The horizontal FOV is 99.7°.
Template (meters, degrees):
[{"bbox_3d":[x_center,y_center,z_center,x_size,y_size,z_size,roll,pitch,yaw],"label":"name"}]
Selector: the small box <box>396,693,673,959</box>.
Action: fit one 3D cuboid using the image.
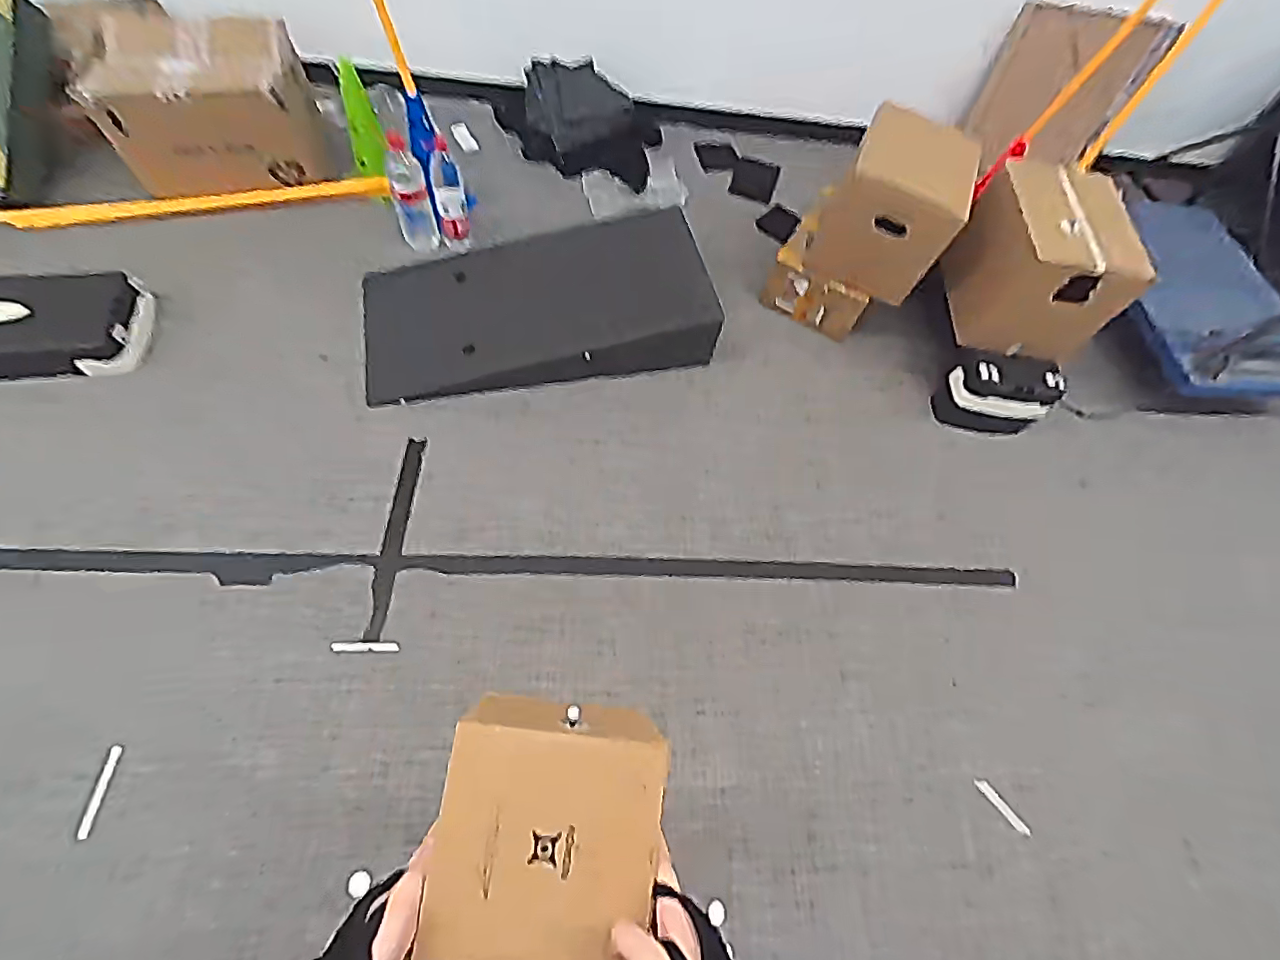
[{"bbox_3d":[-0.082,0.293,0.474,0.179,0.176,0.168,11,75,-6],"label":"small box"}]
